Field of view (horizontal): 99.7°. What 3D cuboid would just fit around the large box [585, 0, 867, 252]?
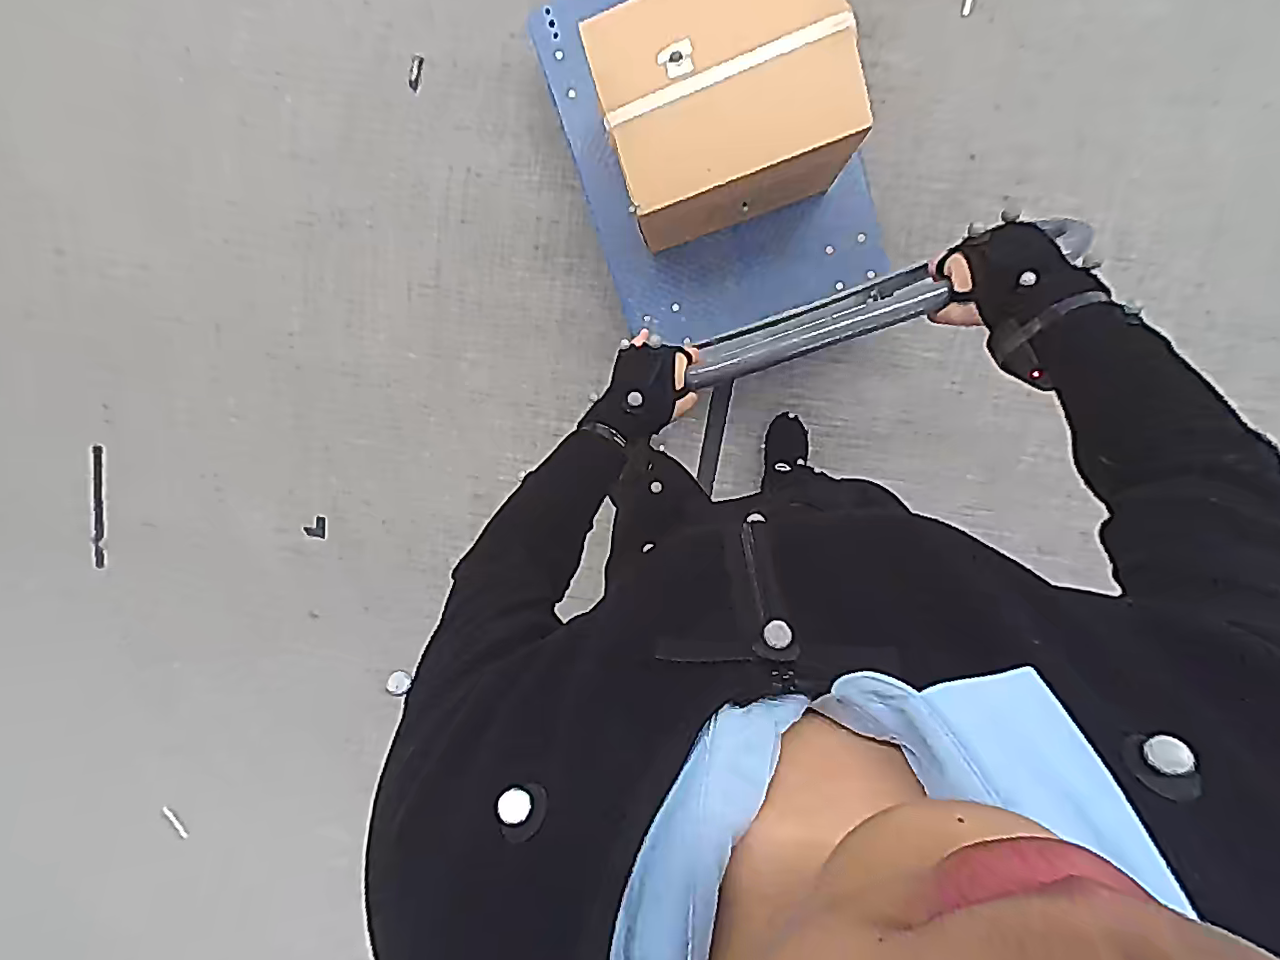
[{"bbox_3d":[0.158,-0.689,1.039,0.408,0.320,0.320,-17,98,10],"label":"large box"}]
